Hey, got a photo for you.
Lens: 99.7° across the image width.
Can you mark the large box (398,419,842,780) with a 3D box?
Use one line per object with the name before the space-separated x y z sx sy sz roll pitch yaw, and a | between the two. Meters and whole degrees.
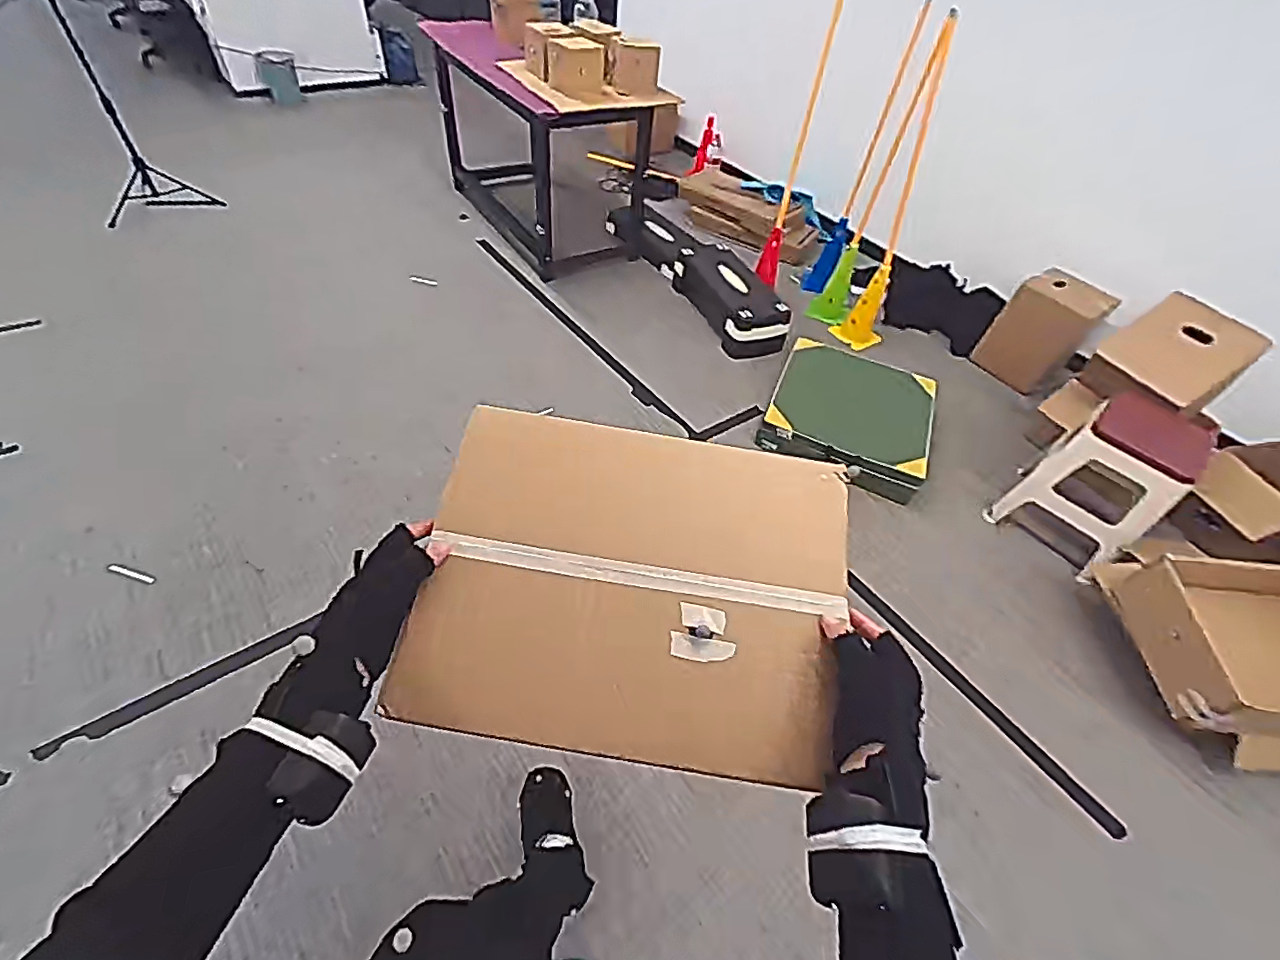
large box | -0.010 0.158 0.669 0.408 0.320 0.320 10 66 0
